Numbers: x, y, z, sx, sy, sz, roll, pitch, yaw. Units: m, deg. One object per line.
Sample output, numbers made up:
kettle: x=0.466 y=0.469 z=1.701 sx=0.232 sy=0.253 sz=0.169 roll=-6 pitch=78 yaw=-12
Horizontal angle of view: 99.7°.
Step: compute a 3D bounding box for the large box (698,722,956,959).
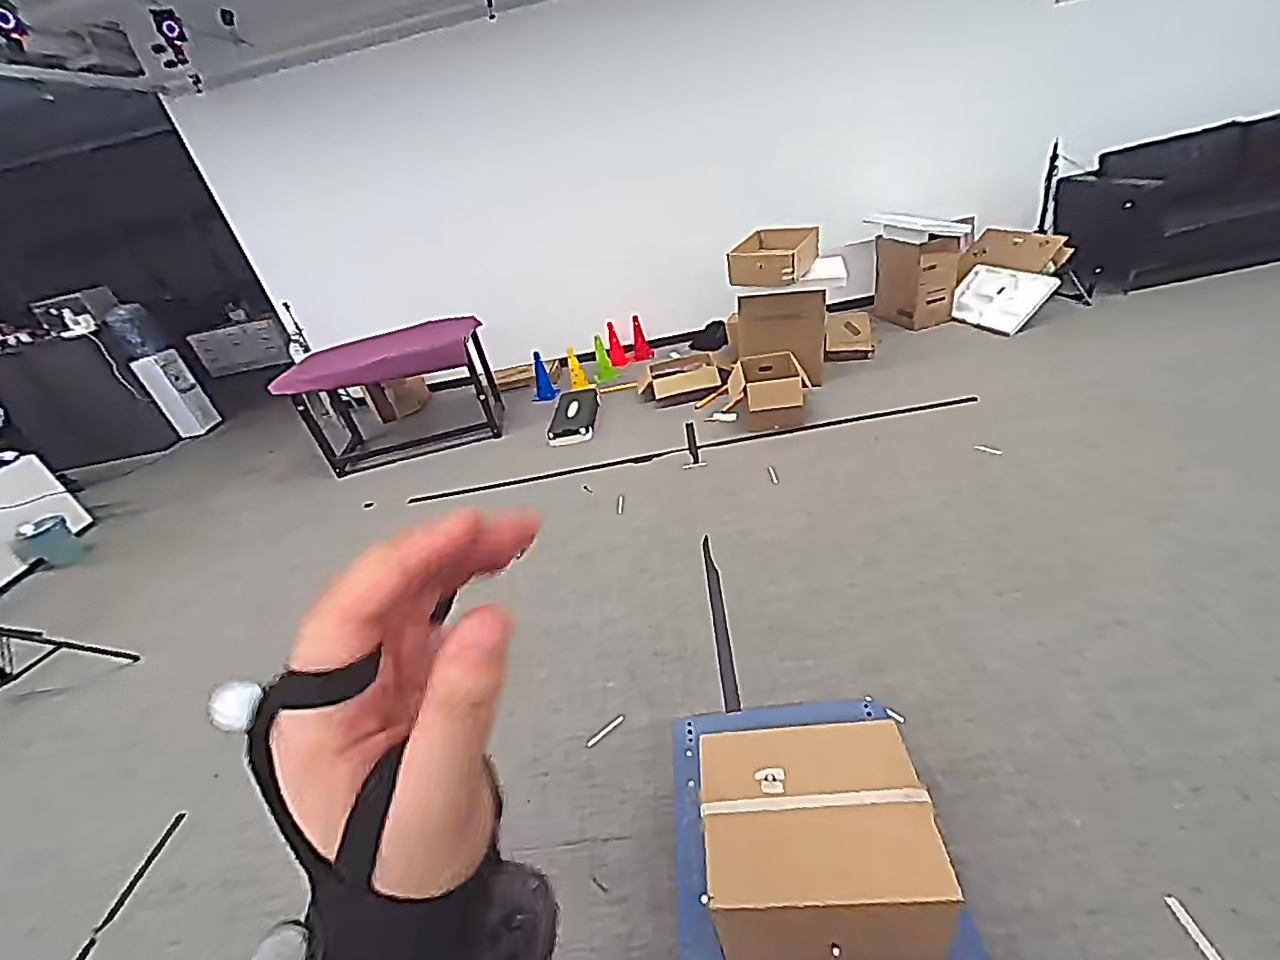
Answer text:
large box: x=0.347 y=0.734 z=1.086 sx=0.408 sy=0.320 sz=0.320 roll=-10 pitch=31 yaw=8
